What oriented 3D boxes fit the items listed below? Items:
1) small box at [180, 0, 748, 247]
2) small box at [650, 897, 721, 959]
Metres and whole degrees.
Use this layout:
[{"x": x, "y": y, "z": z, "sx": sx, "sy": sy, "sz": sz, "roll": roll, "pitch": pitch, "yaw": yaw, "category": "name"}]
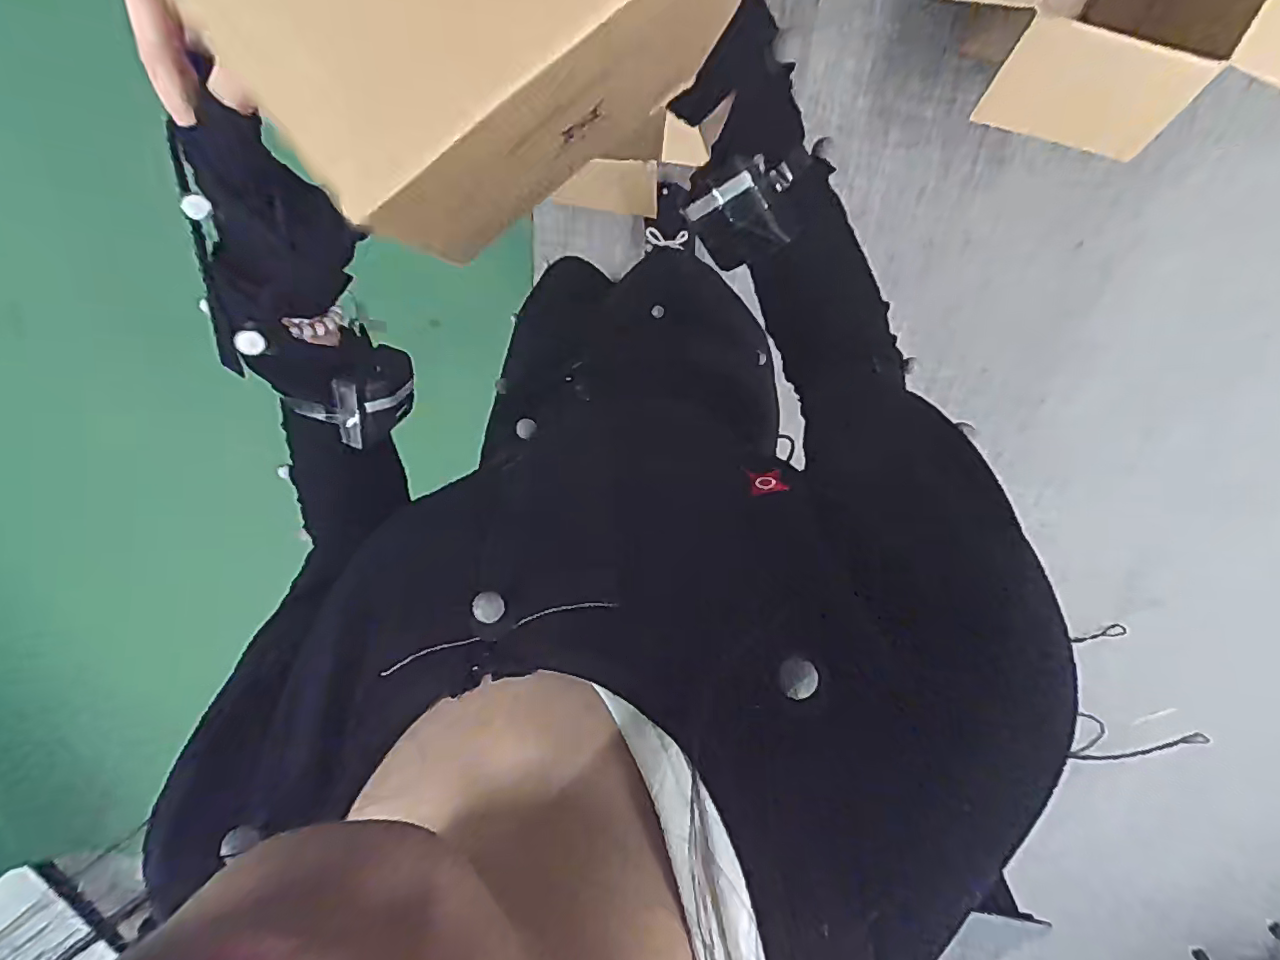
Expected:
[{"x": -0.070, "y": -0.210, "z": 0.193, "sx": 0.168, "sy": 0.179, "sz": 0.176, "roll": -35, "pitch": 111, "yaw": 6, "category": "small box"}, {"x": 0.111, "y": 1.187, "z": 1.353, "sx": 0.168, "sy": 0.176, "sz": 0.179, "roll": 5, "pitch": 120, "yaw": 1, "category": "small box"}]
